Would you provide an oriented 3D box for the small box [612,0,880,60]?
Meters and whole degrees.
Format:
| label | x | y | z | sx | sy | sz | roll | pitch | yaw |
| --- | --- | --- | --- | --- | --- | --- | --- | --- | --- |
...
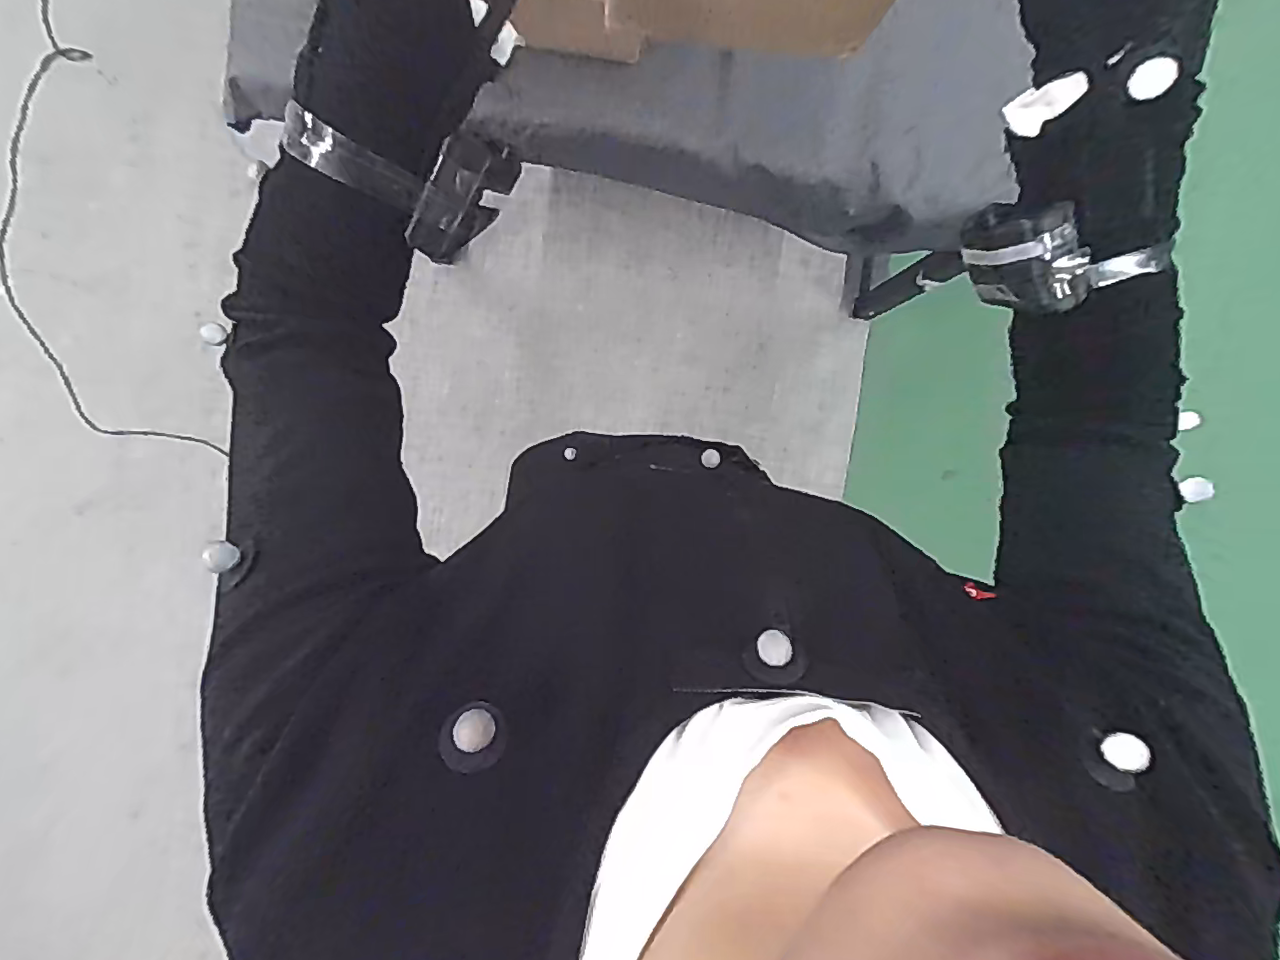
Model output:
| label | x | y | z | sx | sy | sz | roll | pitch | yaw |
| --- | --- | --- | --- | --- | --- | --- | --- | --- | --- |
| small box | 0.076 | -0.375 | 0.296 | 0.179 | 0.176 | 0.168 | 2 | 95 | -7 |
